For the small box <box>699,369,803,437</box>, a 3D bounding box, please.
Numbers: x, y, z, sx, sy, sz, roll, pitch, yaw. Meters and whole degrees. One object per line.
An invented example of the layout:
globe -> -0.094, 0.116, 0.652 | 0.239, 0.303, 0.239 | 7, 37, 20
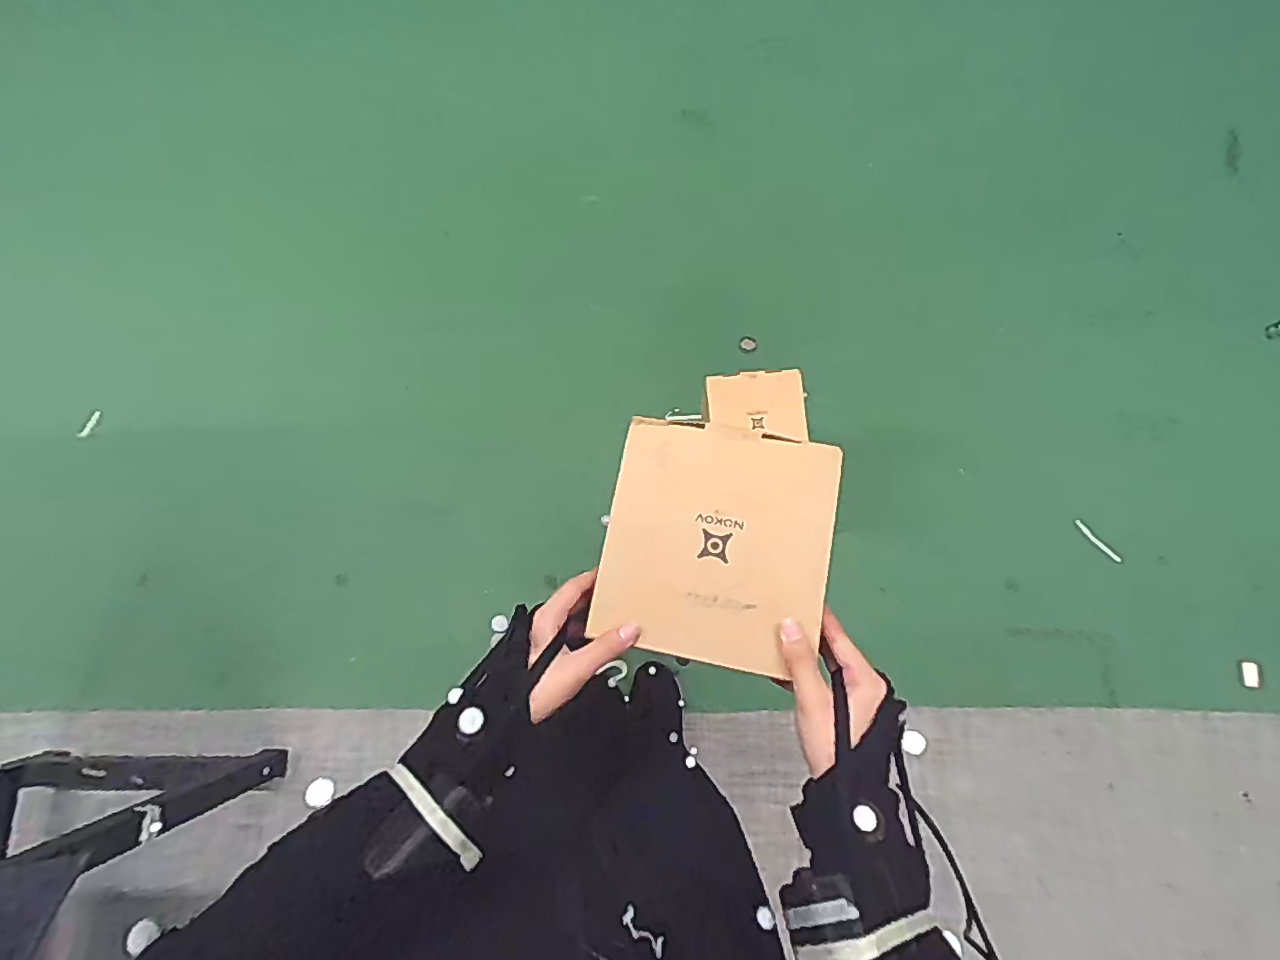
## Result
small box -> 0.200, -0.089, 1.004 | 0.168, 0.176, 0.179 | -4, 79, 3

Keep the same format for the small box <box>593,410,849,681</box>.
small box -> 0.069, 0.060, 0.477 | 0.168, 0.176, 0.179 | 10, 78, 9
